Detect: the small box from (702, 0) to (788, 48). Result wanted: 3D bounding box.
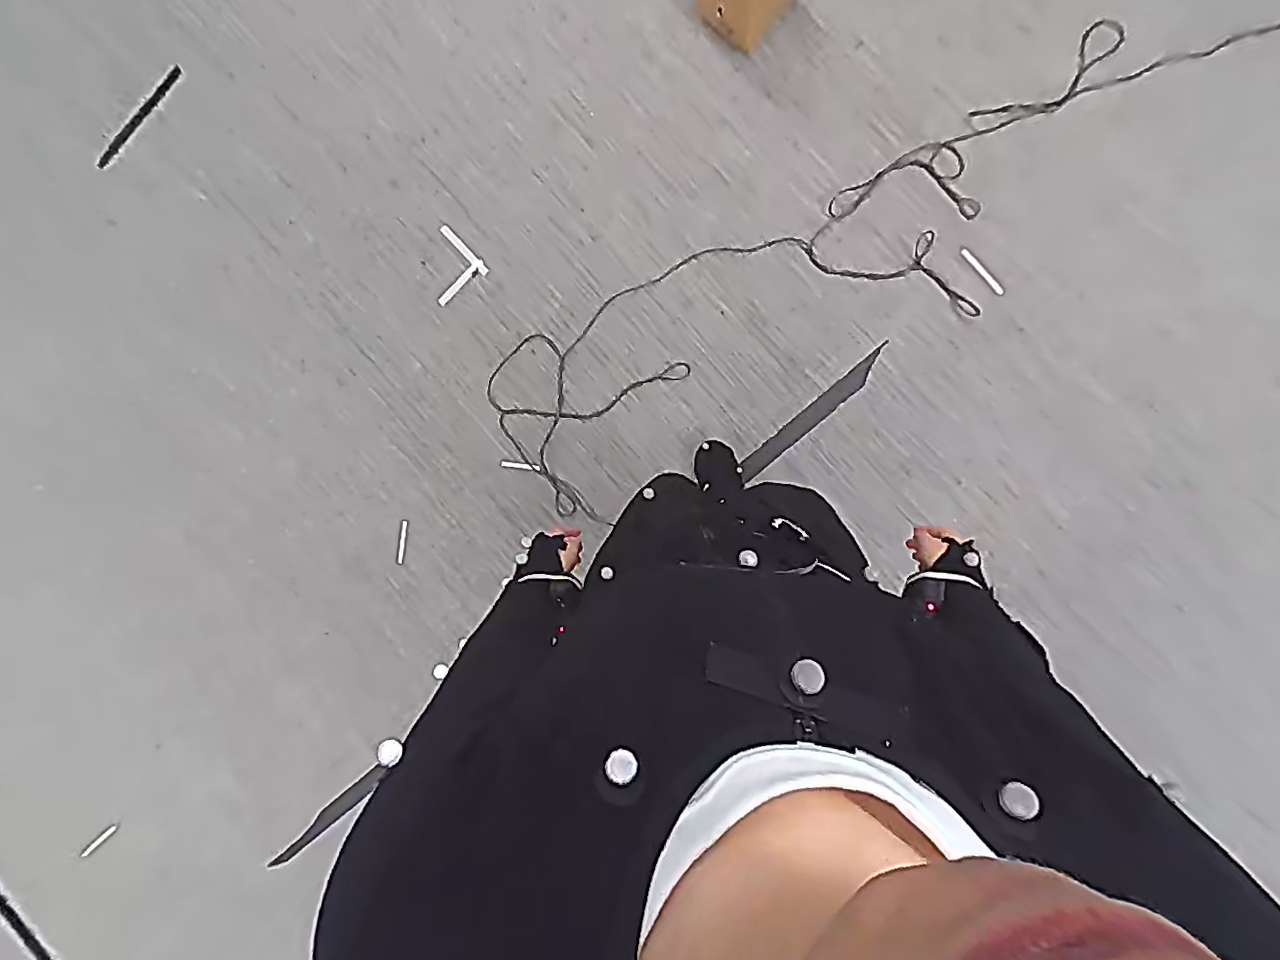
[{"bbox_3d":[0.248,-1.151,1.222,0.168,0.176,0.179,42,97,3],"label":"small box"}]
